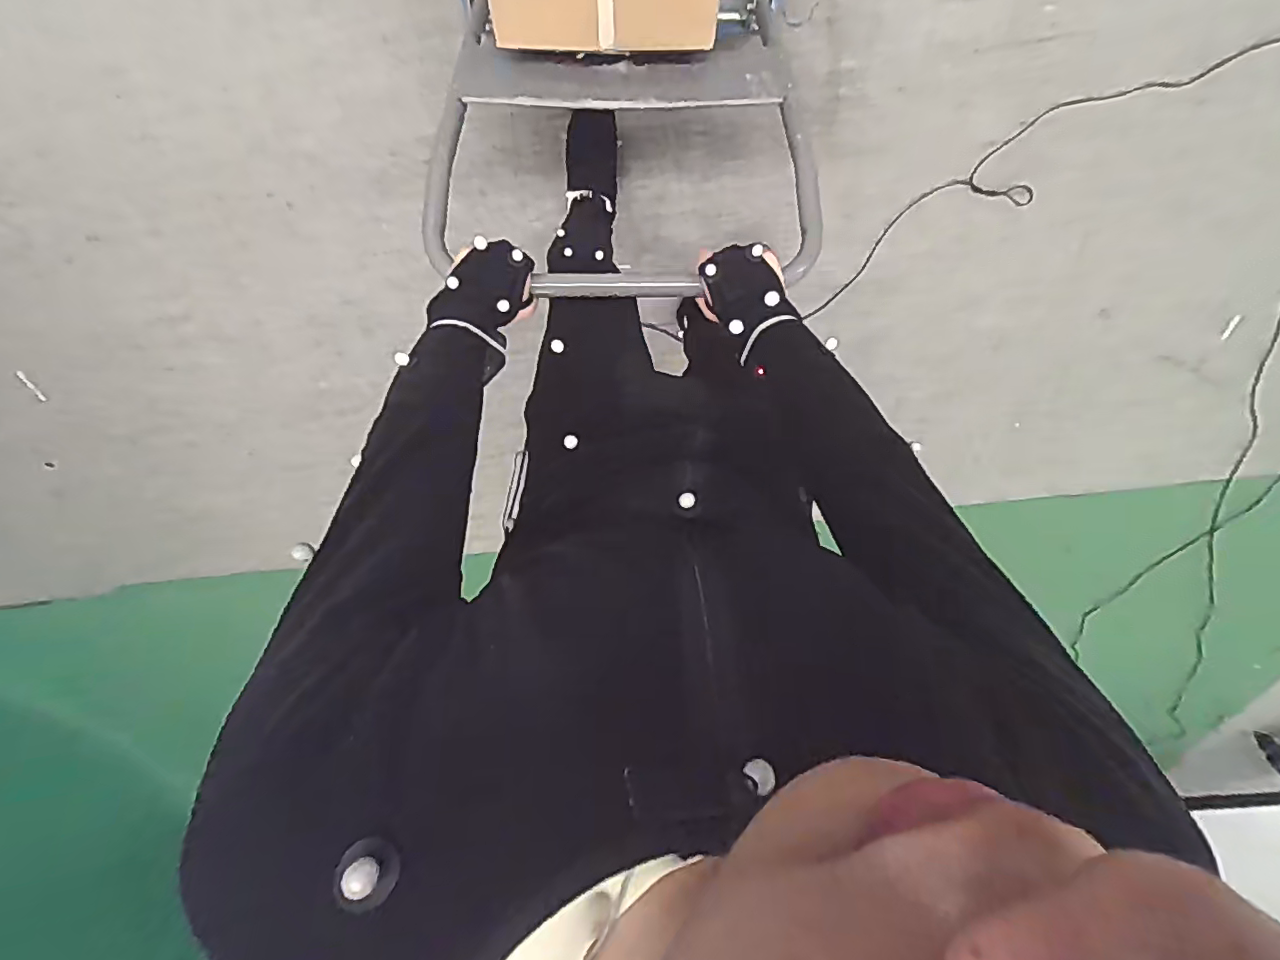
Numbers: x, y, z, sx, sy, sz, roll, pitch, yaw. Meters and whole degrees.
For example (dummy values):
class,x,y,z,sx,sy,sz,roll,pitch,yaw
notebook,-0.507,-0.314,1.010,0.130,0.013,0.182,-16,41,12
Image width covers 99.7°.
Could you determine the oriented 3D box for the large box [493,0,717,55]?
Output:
class,x,y,z,sx,sy,sz,roll,pitch,yaw
large box,-0.050,-0.859,0.712,0.320,0.320,0.408,-1,146,-1
